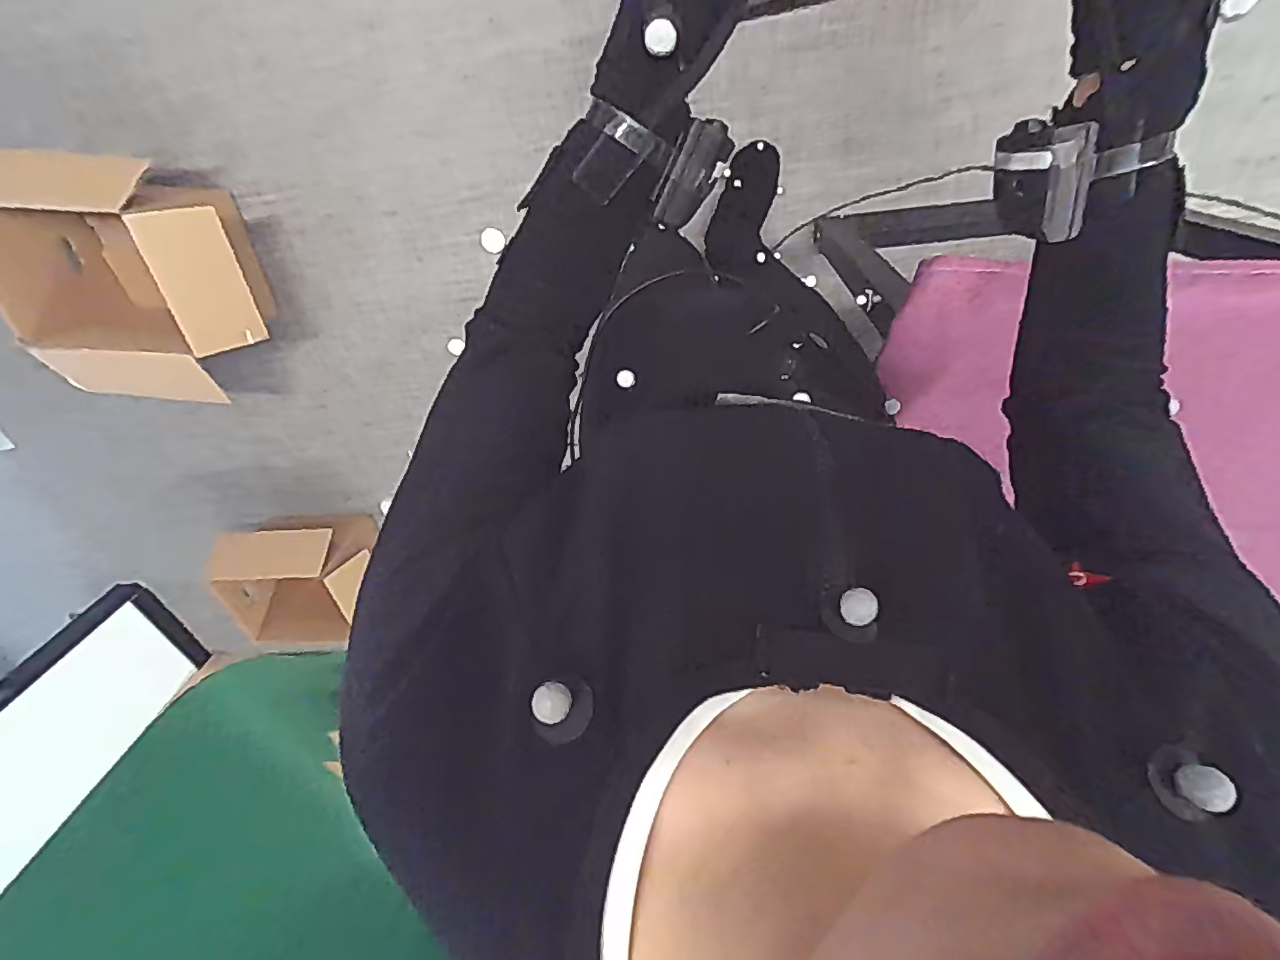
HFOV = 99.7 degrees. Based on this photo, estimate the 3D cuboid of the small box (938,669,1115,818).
[{"bbox_3d":[0.625,0.436,0.906,0.179,0.176,0.168,-5,124,10],"label":"small box"}]
